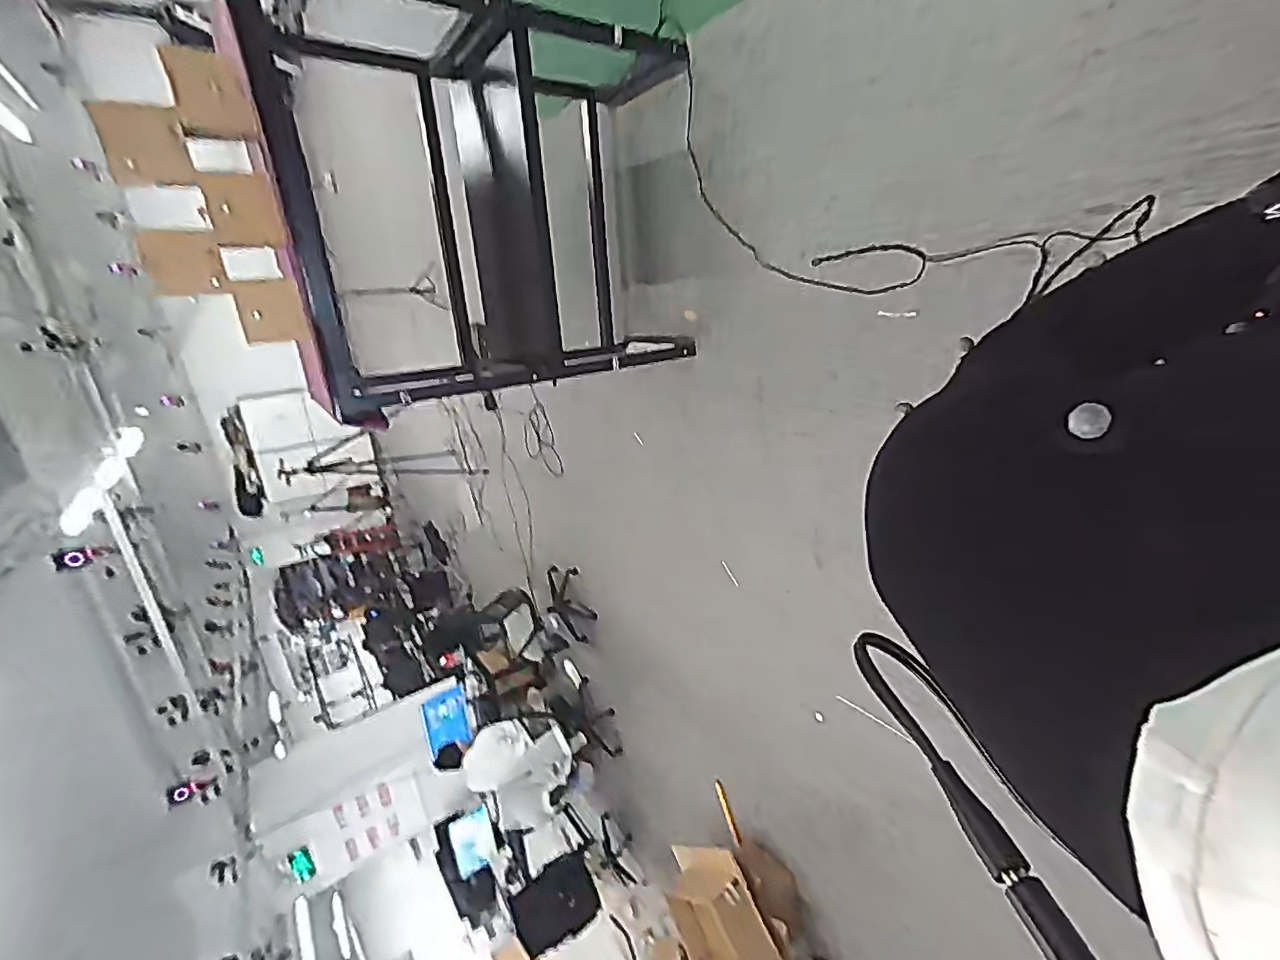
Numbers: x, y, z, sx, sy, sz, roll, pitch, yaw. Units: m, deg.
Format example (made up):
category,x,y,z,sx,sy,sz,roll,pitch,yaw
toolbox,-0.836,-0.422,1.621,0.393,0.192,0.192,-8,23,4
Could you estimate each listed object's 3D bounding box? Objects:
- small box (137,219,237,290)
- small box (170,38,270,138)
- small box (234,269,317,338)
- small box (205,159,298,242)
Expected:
category,x,y,z,sx,sy,sz,roll,pitch,yaw
small box,-1.202,-0.602,1.452,0.179,0.176,0.168,23,122,52
small box,-1.083,-1.006,1.404,0.179,0.176,0.168,24,122,49
small box,-1.055,-0.517,1.571,0.168,0.176,0.179,28,124,49
small box,-1.067,-0.760,1.487,0.168,0.176,0.179,20,120,52
